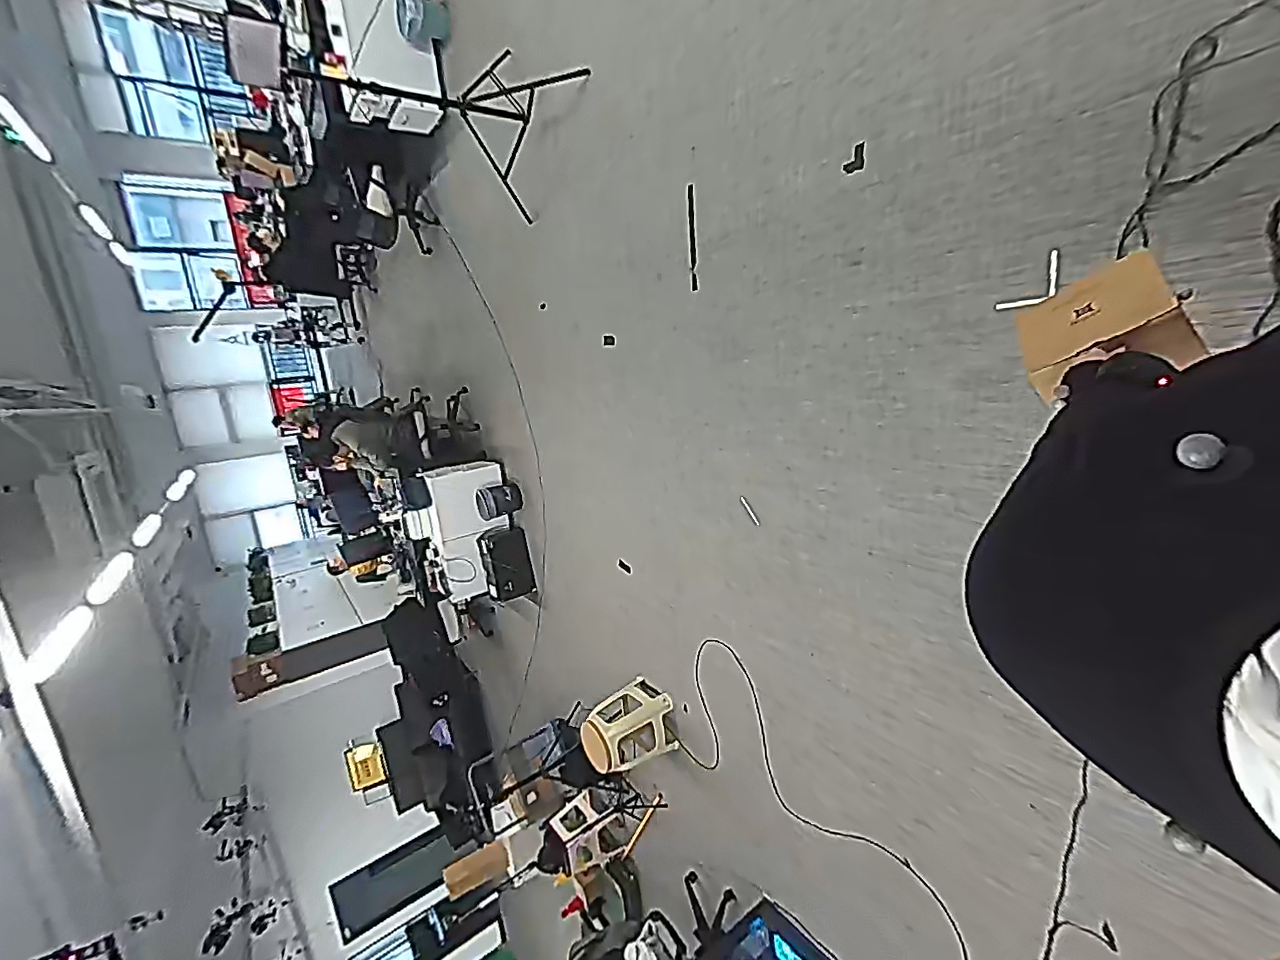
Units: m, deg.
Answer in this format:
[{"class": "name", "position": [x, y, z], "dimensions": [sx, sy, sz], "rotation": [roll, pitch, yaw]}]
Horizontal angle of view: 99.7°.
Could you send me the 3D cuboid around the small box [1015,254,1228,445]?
[{"class": "small box", "position": [0.669, -0.172, 0.765], "dimensions": [0.176, 0.179, 0.168], "rotation": [43, 137, -16]}]
